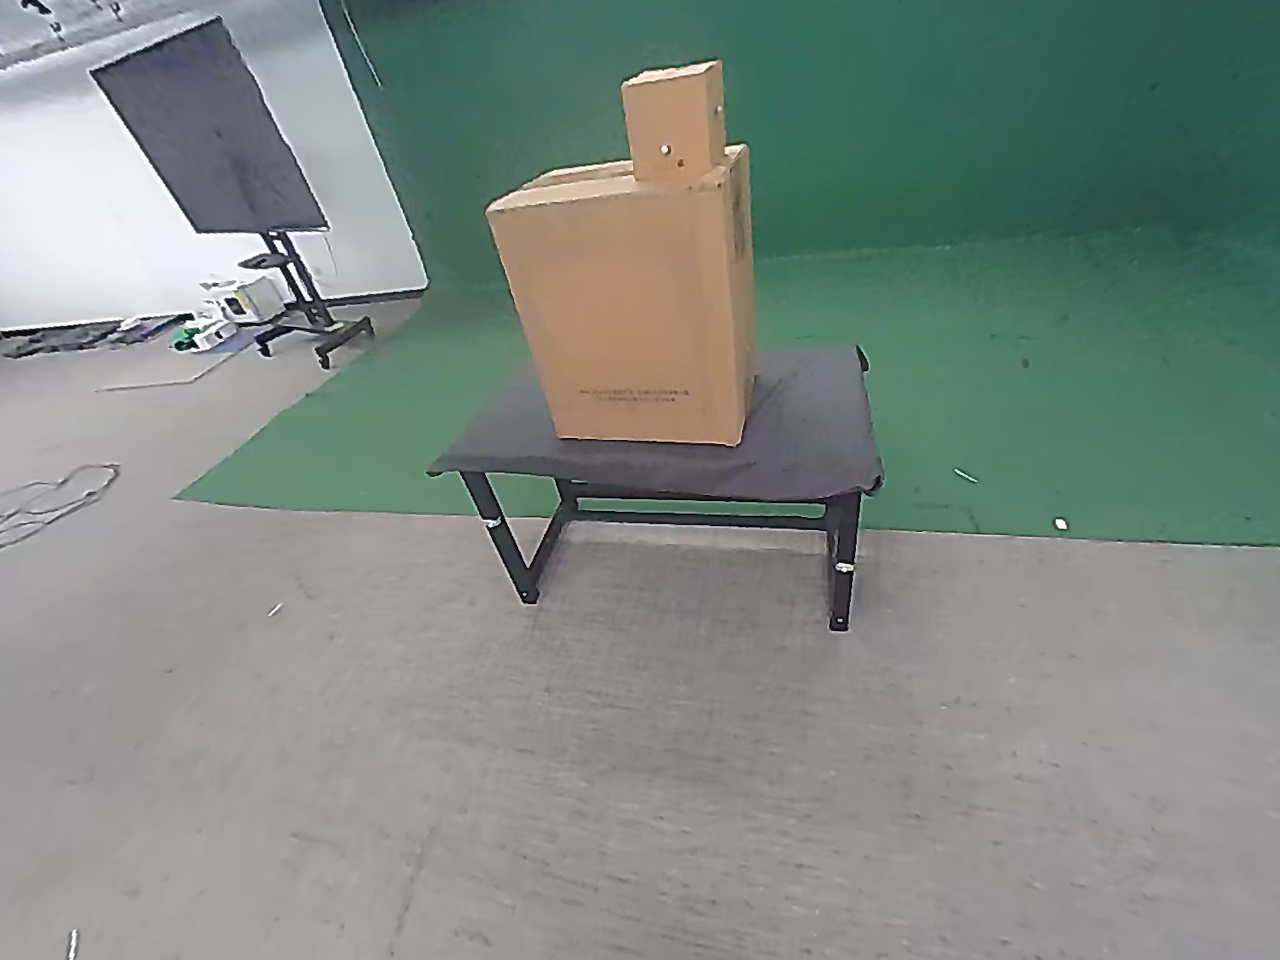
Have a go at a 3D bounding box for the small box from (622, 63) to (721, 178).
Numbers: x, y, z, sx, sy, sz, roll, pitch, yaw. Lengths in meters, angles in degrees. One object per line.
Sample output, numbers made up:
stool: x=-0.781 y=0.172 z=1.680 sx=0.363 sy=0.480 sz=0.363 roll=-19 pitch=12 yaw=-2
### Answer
small box: x=0.075 y=-0.745 z=1.127 sx=0.168 sy=0.176 sz=0.179 roll=5 pitch=44 yaw=18
